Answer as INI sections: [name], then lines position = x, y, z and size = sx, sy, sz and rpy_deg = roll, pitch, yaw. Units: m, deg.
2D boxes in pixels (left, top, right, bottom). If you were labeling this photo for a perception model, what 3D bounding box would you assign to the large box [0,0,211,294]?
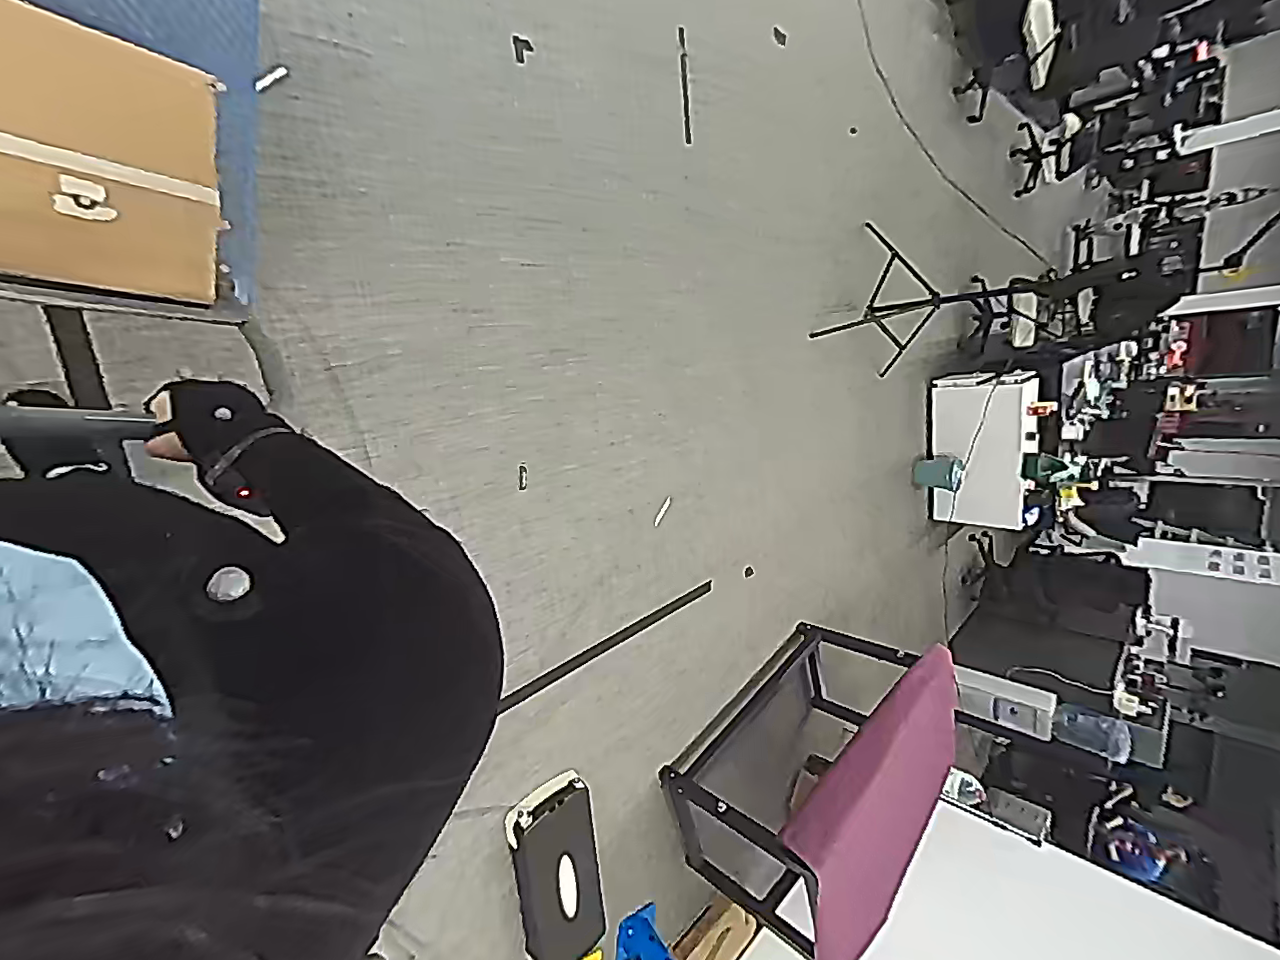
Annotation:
[large box]
position = -0.879, -0.472, 0.759
size = 0.408, 0.320, 0.320
rpy_deg = -3, 113, -45
